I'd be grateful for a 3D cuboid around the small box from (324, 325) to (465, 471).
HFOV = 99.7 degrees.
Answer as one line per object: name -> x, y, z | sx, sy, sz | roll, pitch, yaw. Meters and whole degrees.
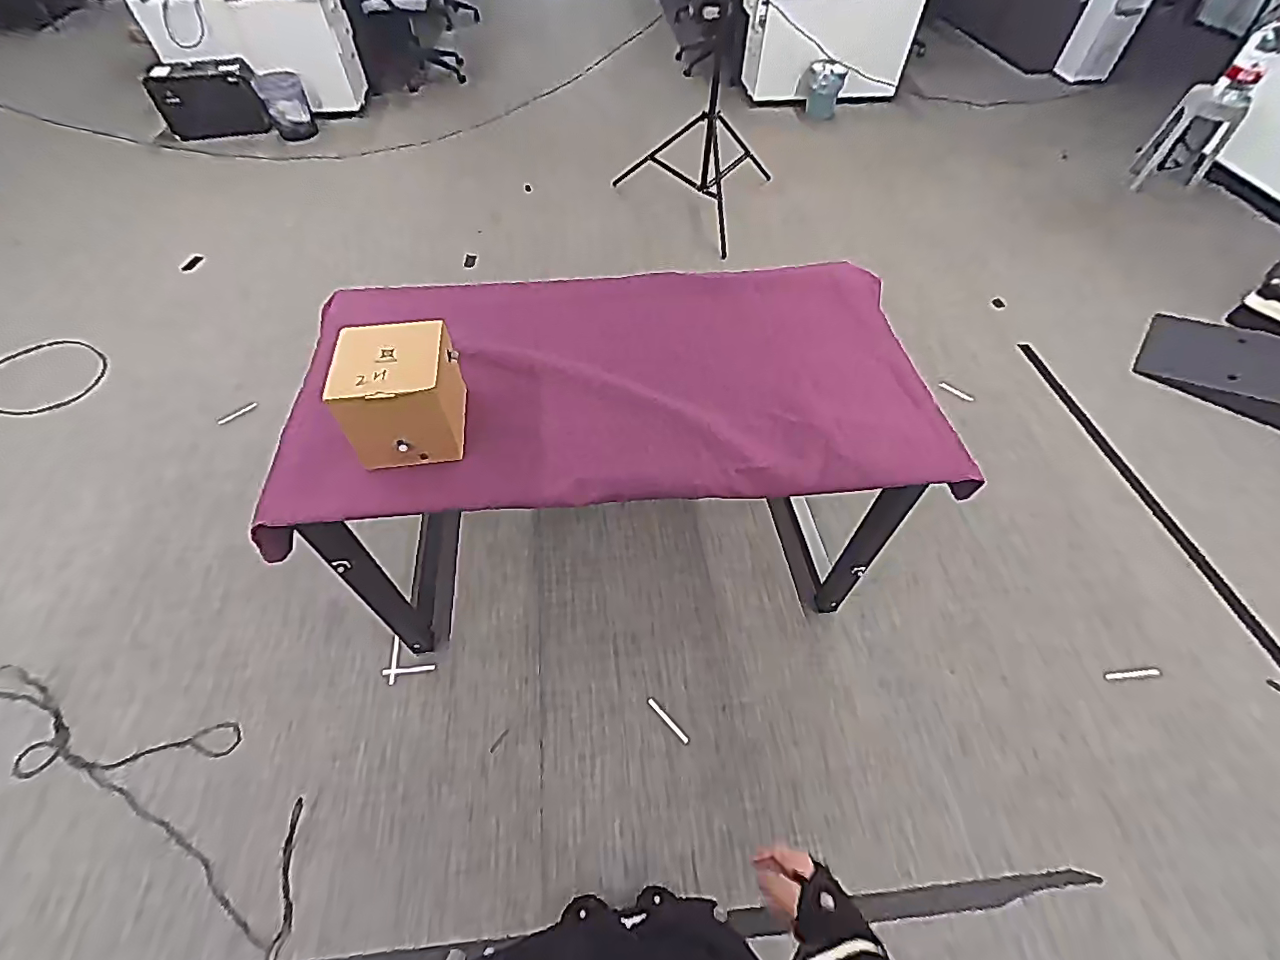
small box -> -0.404, -0.139, 0.925 | 0.168, 0.176, 0.179 | -7, 53, -6
